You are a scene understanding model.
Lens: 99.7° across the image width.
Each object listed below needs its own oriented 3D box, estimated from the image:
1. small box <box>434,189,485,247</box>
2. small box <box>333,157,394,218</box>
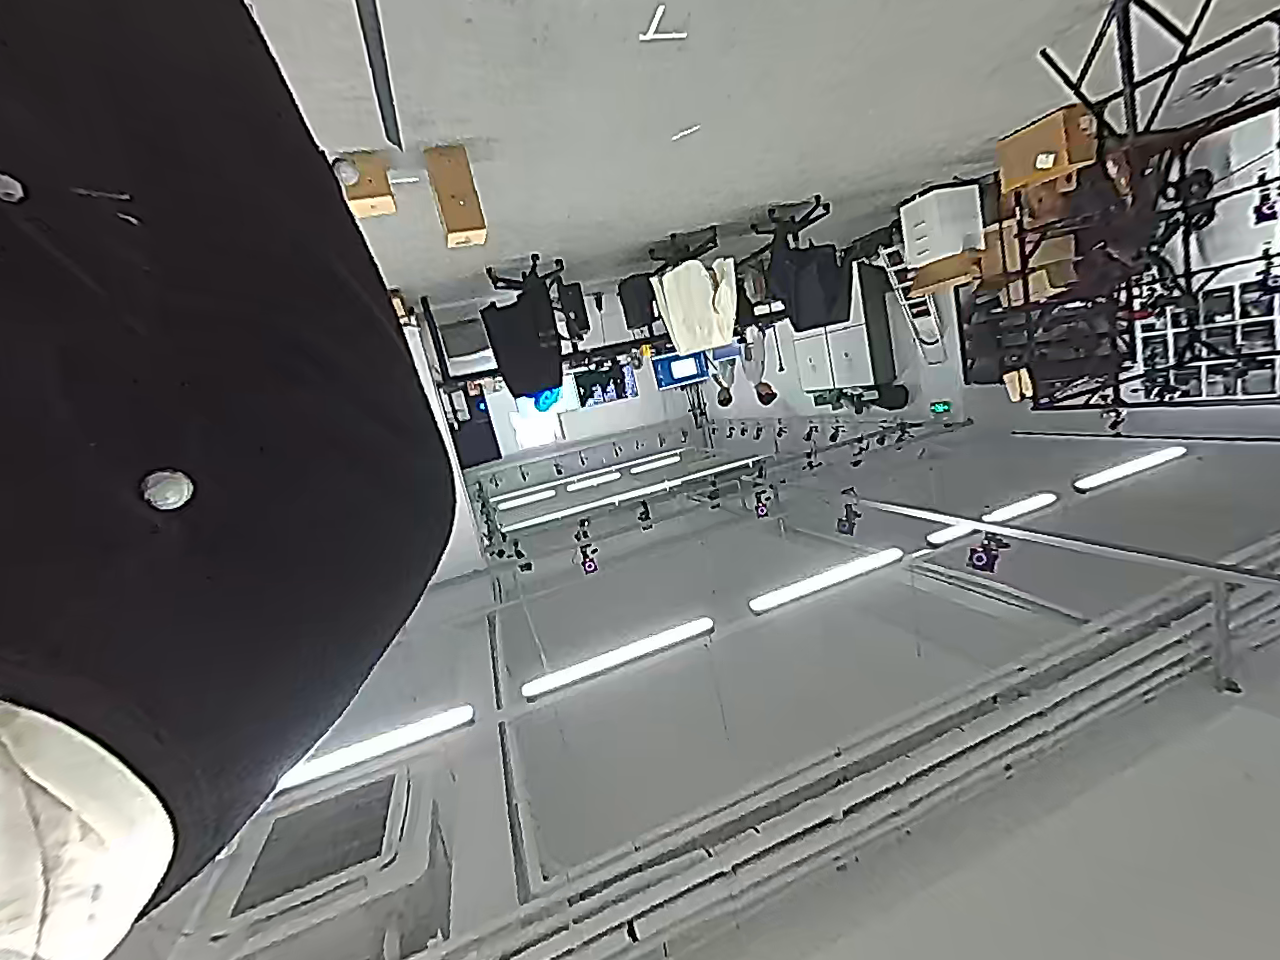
[{"bbox_3d":[-0.778,-1.124,2.322,0.168,0.176,0.179,-17,-170,-18],"label":"small box"},{"bbox_3d":[-1.119,-1.193,2.195,0.168,0.176,0.179,-16,-170,-14],"label":"small box"}]
